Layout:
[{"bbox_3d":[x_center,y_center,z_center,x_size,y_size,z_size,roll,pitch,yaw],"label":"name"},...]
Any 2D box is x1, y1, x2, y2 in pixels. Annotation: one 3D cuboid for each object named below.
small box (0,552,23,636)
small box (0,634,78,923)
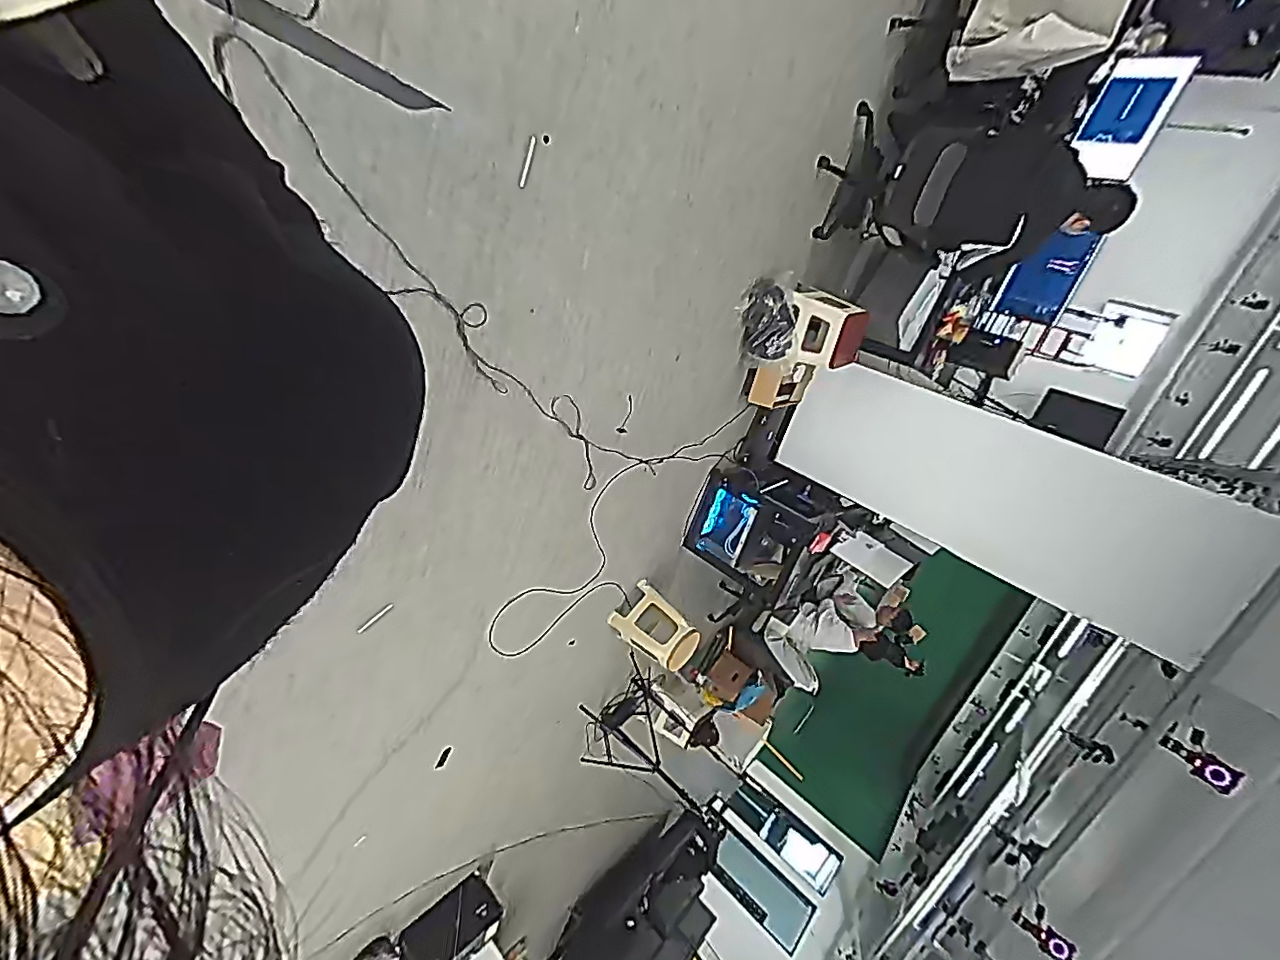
[{"bbox_3d":[-0.697,0.179,0.499,0.168,0.176,0.179,-9,124,-52],"label":"small box"},{"bbox_3d":[-0.578,0.253,0.418,0.179,0.176,0.168,-11,128,-52],"label":"small box"}]
